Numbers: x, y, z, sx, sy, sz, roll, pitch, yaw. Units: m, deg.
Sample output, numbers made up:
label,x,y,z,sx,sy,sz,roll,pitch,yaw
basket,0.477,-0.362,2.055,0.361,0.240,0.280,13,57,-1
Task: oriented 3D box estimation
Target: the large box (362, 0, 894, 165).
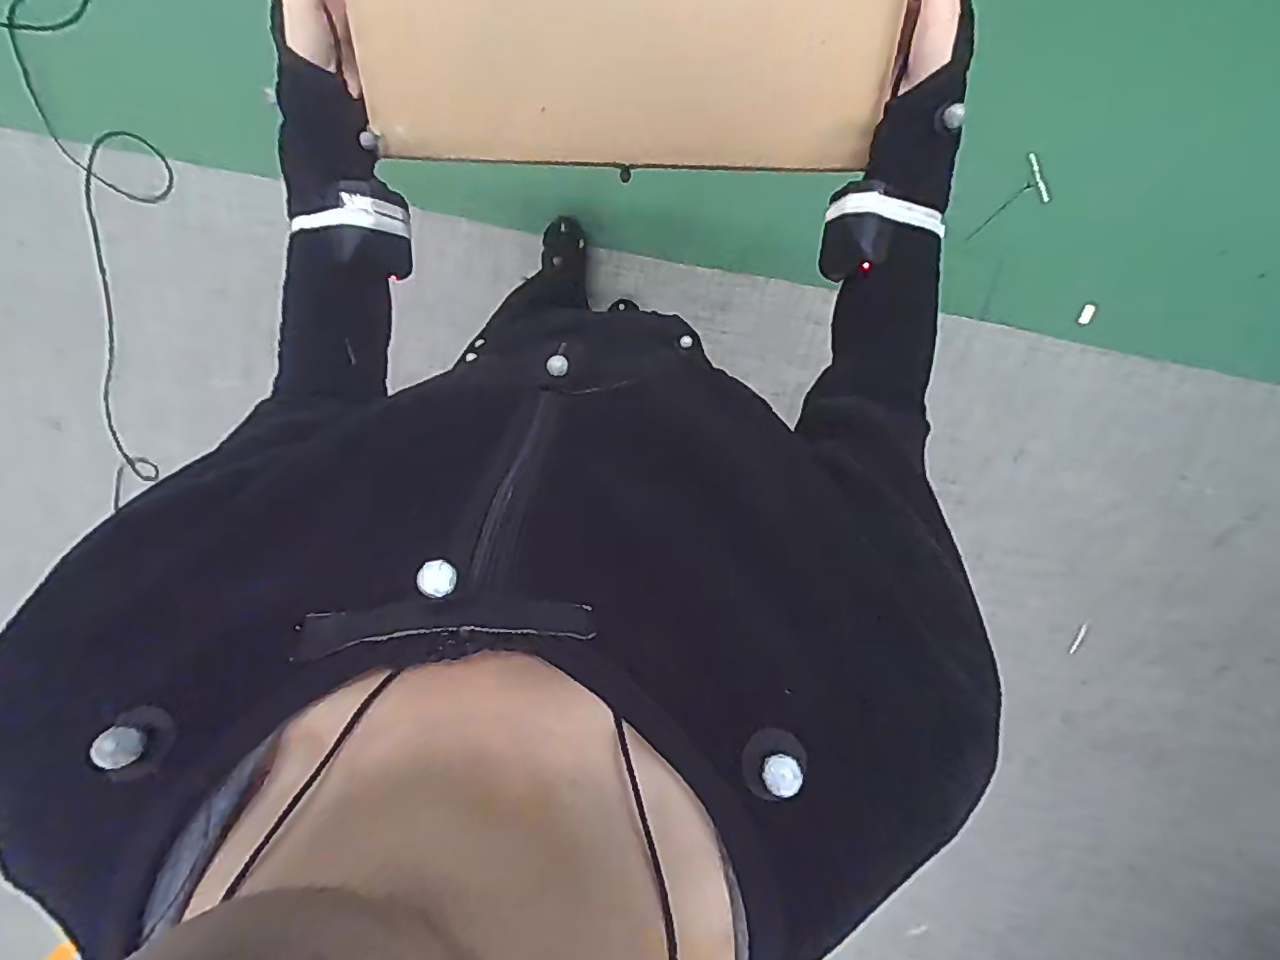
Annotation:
label,x,y,z,sx,sy,sz,roll,pitch,yaw
large box,-0.008,-0.479,0.501,0.408,0.320,0.320,0,120,-2
